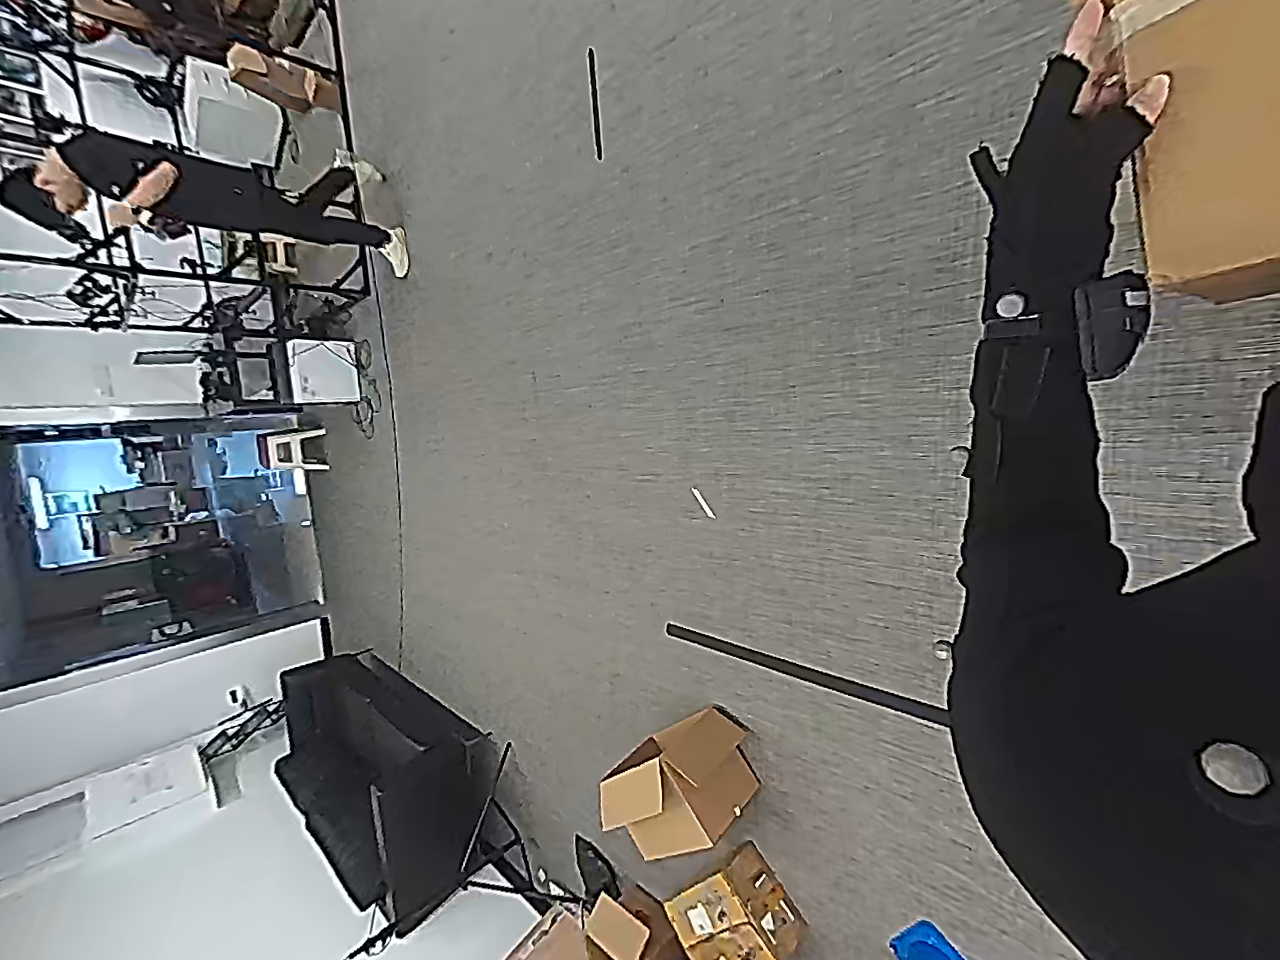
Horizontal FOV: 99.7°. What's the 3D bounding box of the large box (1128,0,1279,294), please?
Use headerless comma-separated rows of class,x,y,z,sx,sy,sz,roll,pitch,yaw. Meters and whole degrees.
large box,0.525,-0.313,0.258,0.408,0.320,0.320,-6,96,52
